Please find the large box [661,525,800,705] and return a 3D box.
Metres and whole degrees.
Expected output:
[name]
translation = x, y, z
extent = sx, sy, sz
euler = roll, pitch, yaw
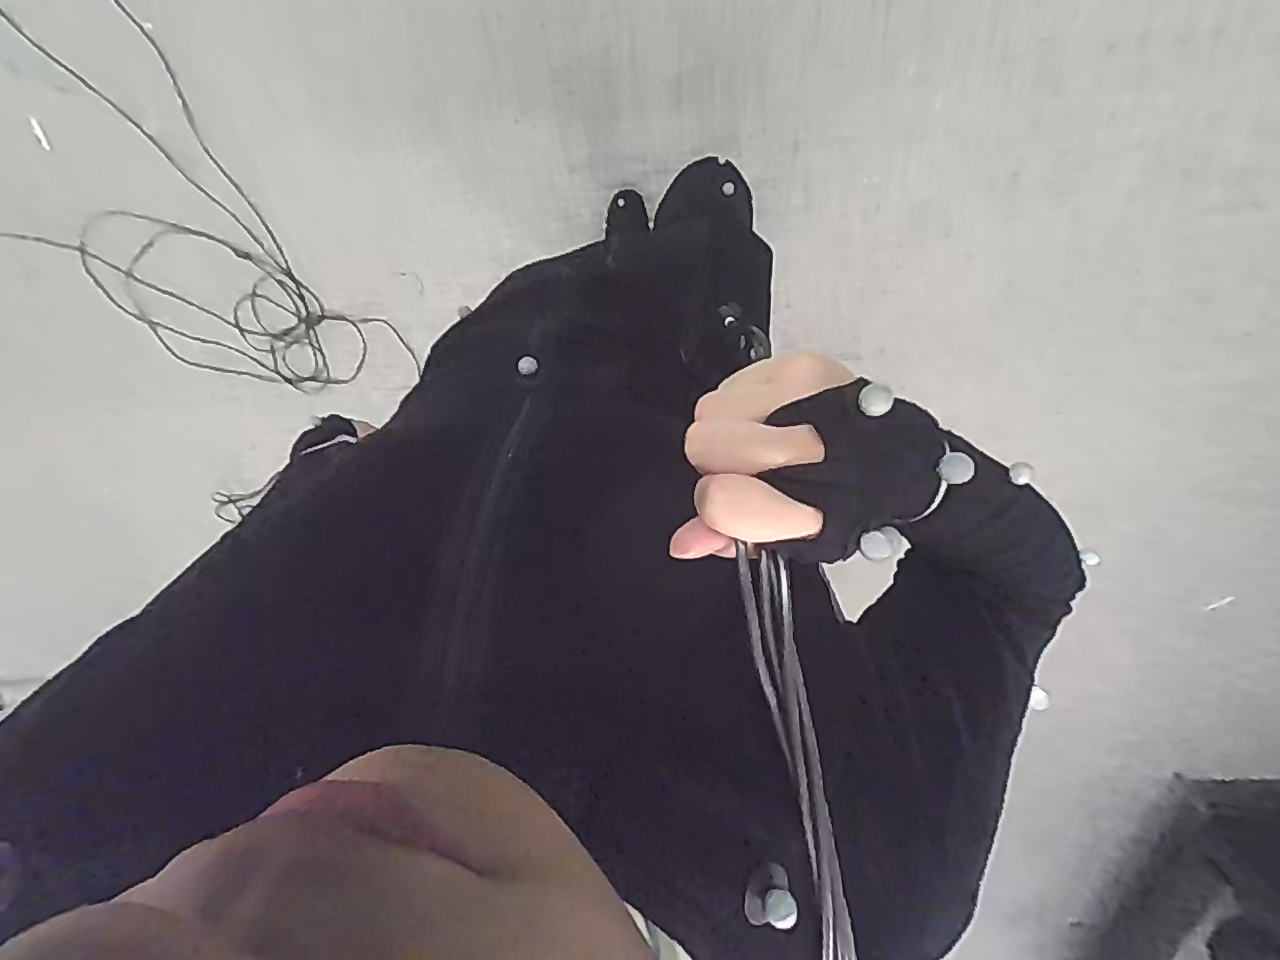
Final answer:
[large box]
translation = 0.238, 0.387, 1.584
extent = 0.320, 0.320, 0.408
euler = 8, 120, -1
